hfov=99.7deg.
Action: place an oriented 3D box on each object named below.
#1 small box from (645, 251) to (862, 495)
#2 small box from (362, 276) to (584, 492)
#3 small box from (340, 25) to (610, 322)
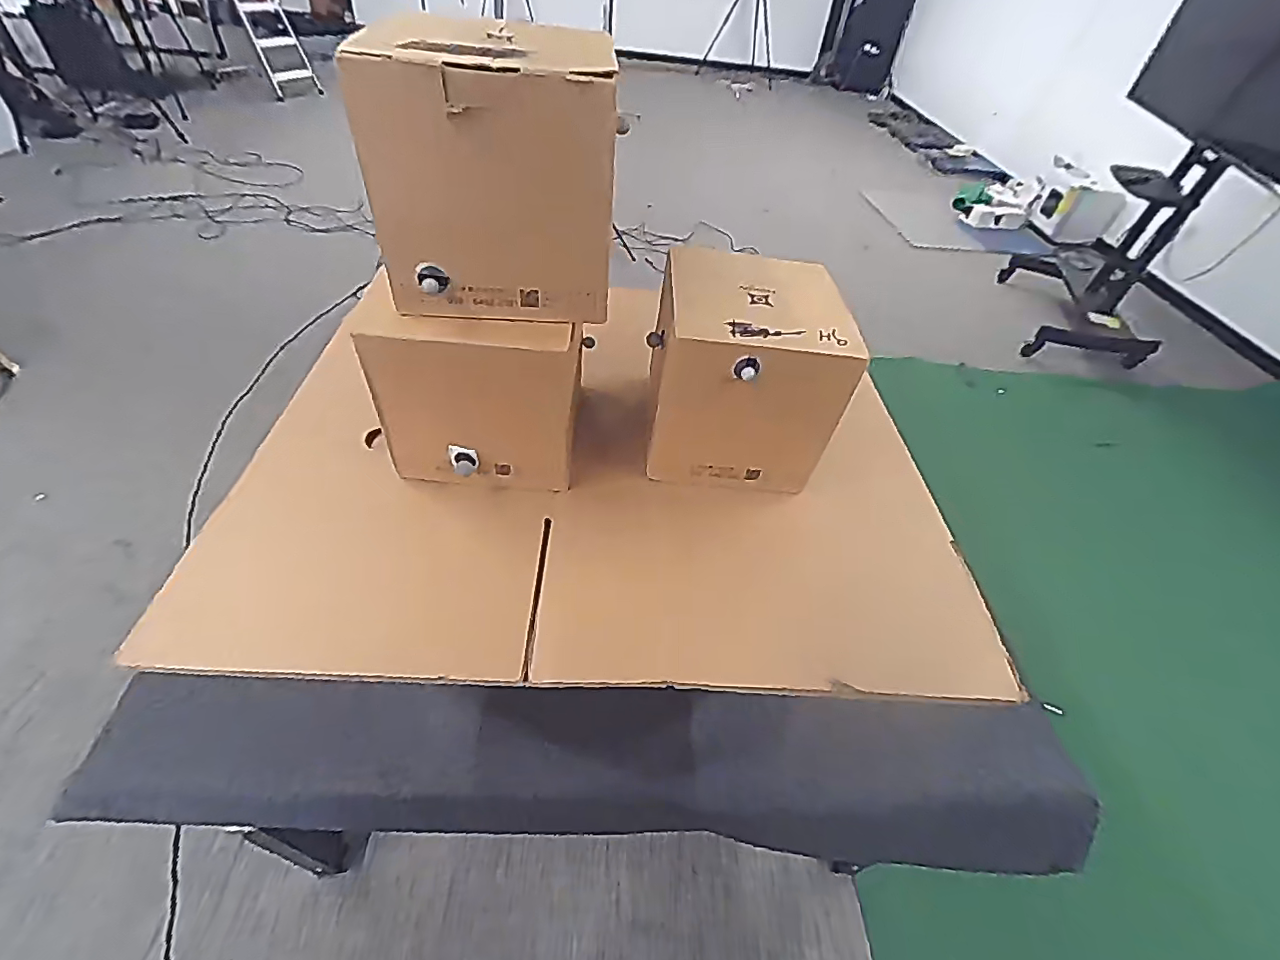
[{"bbox_3d":[0.097,-0.109,0.560,0.168,0.176,0.179,6,46,-4],"label":"small box"},{"bbox_3d":[-0.143,-0.110,0.537,0.168,0.176,0.179,3,48,-4],"label":"small box"},{"bbox_3d":[-0.109,-0.245,0.441,0.168,0.176,0.179,1,46,-6],"label":"small box"}]
